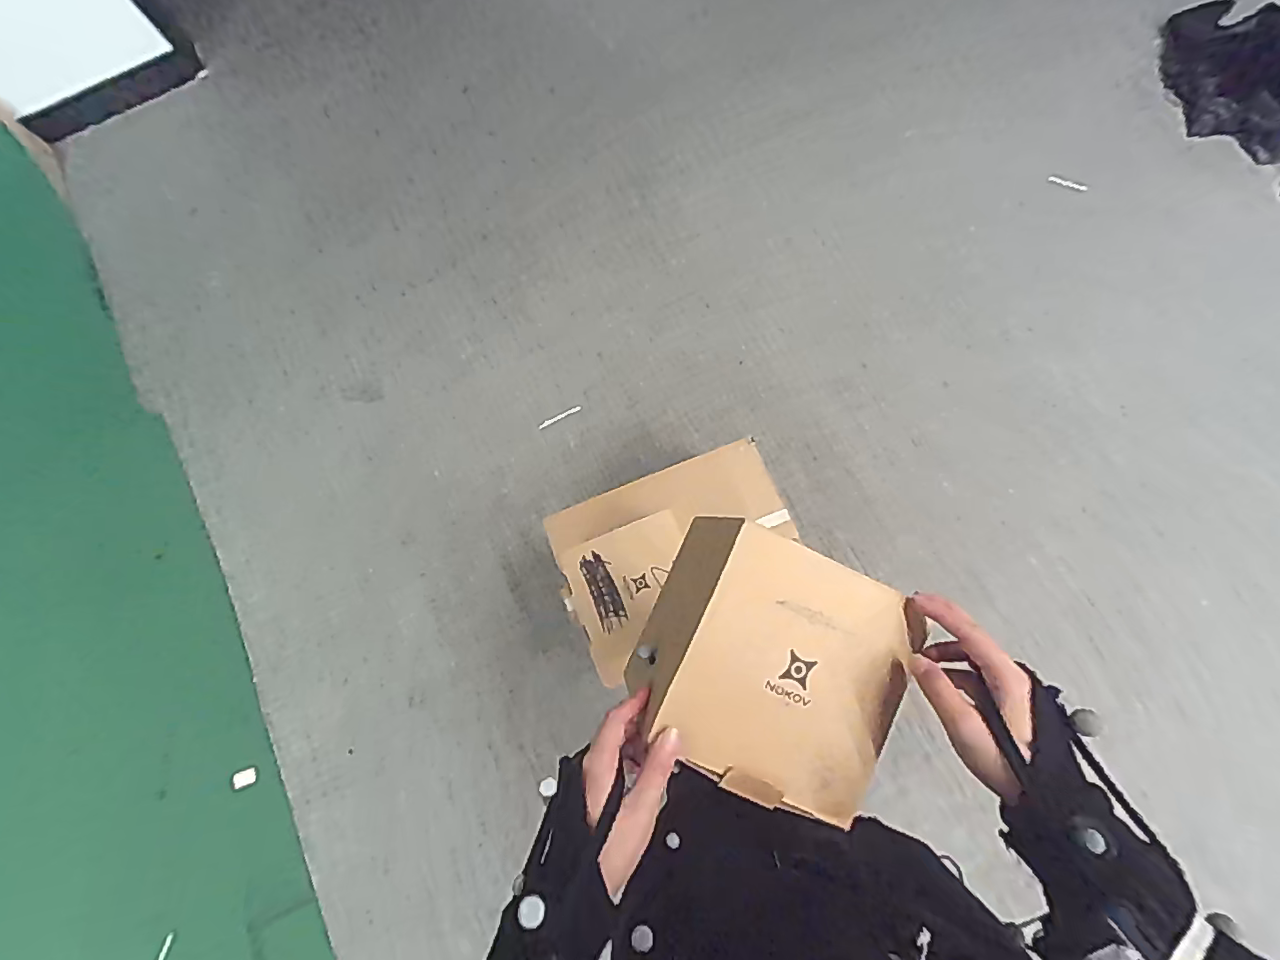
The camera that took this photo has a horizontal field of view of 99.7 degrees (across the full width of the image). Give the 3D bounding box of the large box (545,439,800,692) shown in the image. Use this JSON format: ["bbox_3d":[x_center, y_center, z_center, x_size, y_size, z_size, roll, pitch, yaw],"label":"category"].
[{"bbox_3d":[0.073,0.171,1.071,0.408,0.320,0.320,-22,78,-4],"label":"large box"}]

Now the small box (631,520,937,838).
[{"bbox_3d":[0.102,0.146,0.462,0.168,0.176,0.179,26,83,-6],"label":"small box"}]
